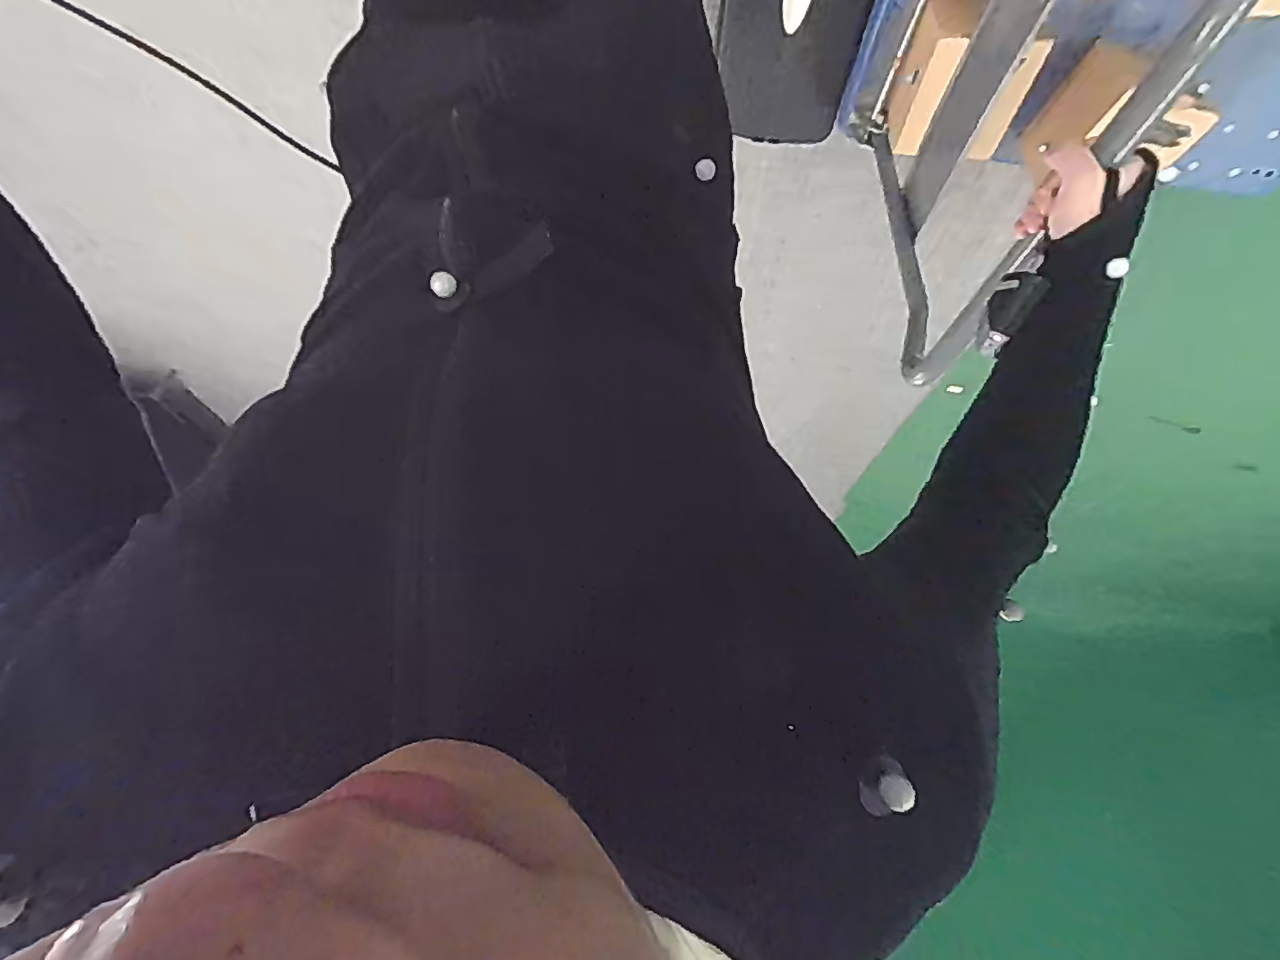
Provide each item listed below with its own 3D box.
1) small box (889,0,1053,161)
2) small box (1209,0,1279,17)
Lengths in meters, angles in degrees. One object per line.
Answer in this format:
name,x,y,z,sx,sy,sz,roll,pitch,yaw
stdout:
small box,0.530,-0.671,0.899,0.168,0.176,0.179,7,153,3
small box,0.868,-0.736,0.696,0.179,0.176,0.168,4,151,8
